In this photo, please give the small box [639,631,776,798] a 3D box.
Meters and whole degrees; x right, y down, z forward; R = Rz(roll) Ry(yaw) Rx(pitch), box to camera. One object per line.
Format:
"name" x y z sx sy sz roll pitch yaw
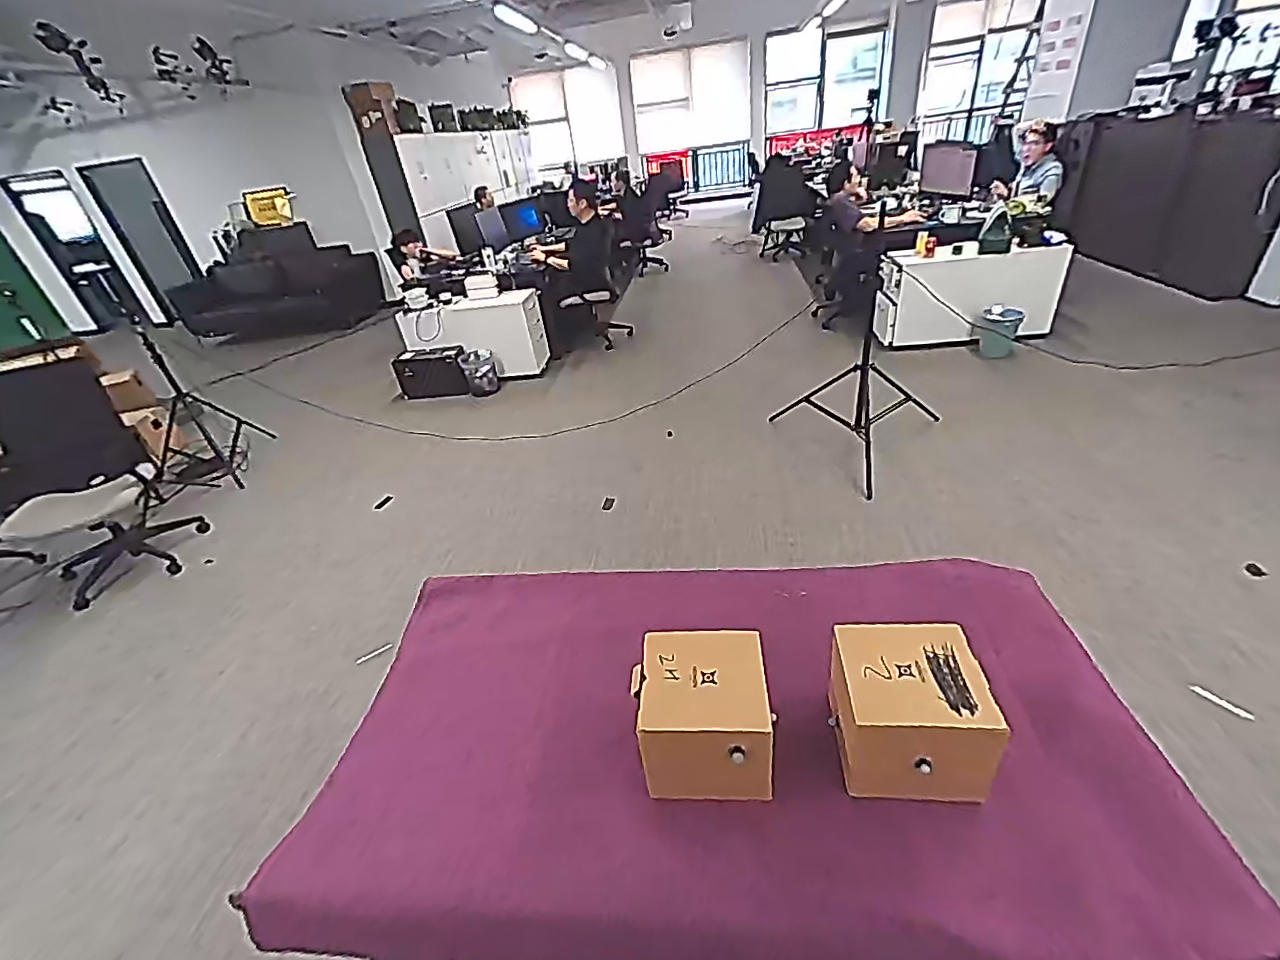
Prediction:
"small box" 0.100 0.344 0.797 0.179 0.176 0.168 -4 32 8
